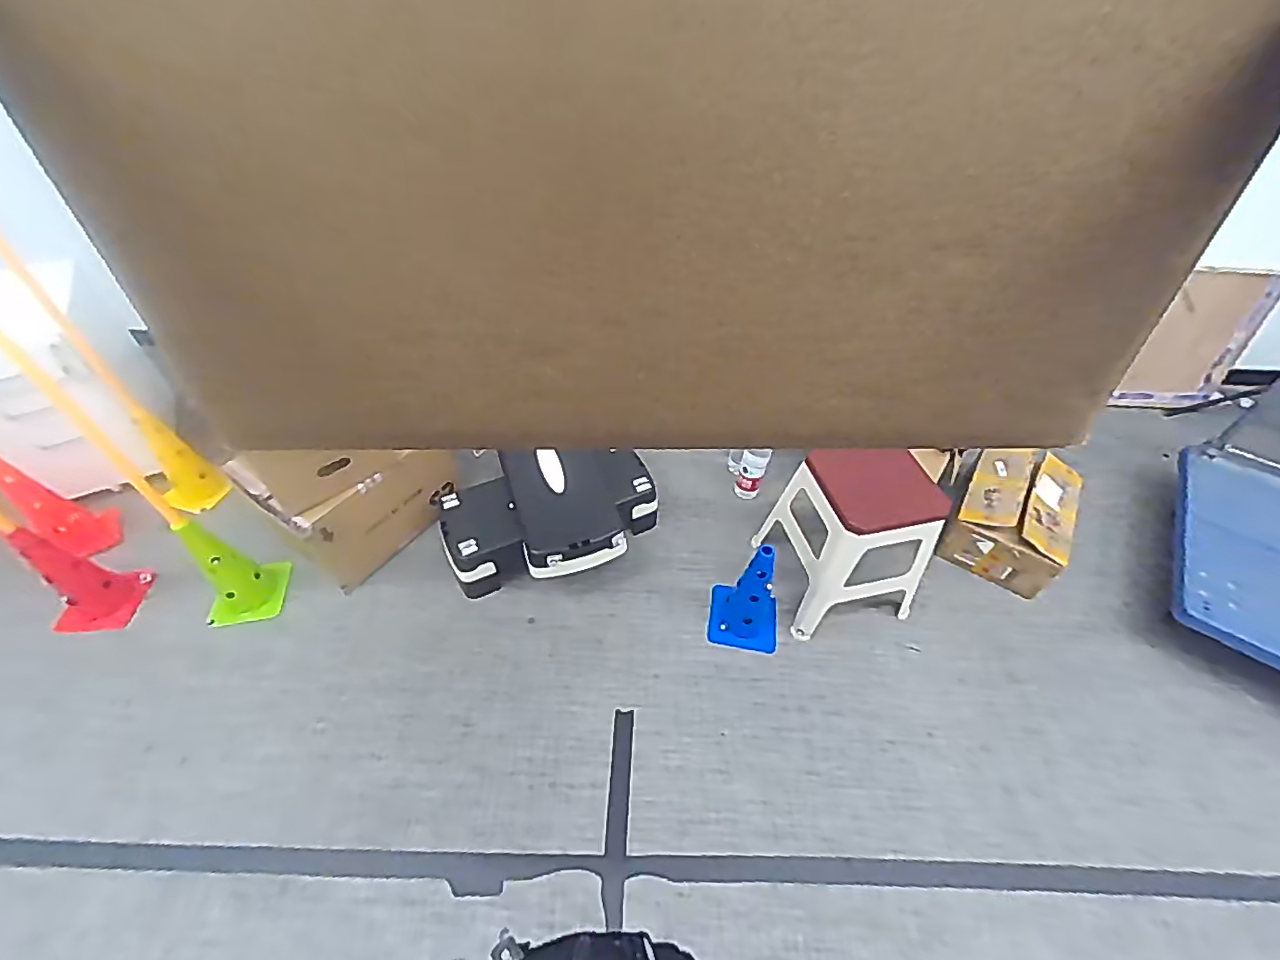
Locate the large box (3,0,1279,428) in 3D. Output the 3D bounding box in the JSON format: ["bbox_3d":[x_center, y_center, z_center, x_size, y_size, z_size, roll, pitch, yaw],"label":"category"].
[{"bbox_3d":[0.005,-0.234,0.278,0.408,0.320,0.320,1,41,0],"label":"large box"}]
